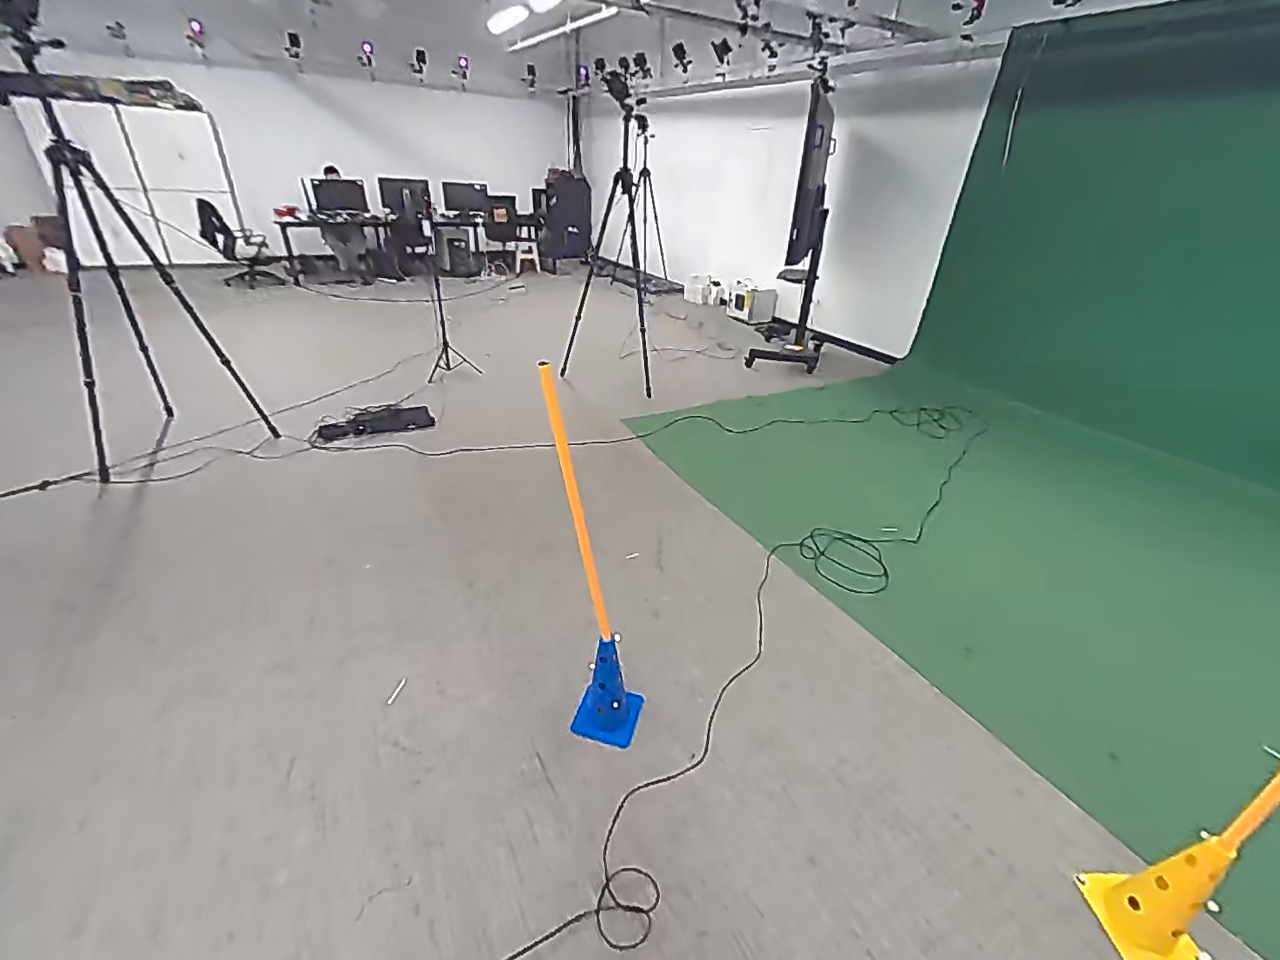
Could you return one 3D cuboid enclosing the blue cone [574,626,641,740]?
[{"bbox_3d":[-0.101,0.603,1.662,0.193,0.380,0.192,8,32,12],"label":"blue cone"}]
